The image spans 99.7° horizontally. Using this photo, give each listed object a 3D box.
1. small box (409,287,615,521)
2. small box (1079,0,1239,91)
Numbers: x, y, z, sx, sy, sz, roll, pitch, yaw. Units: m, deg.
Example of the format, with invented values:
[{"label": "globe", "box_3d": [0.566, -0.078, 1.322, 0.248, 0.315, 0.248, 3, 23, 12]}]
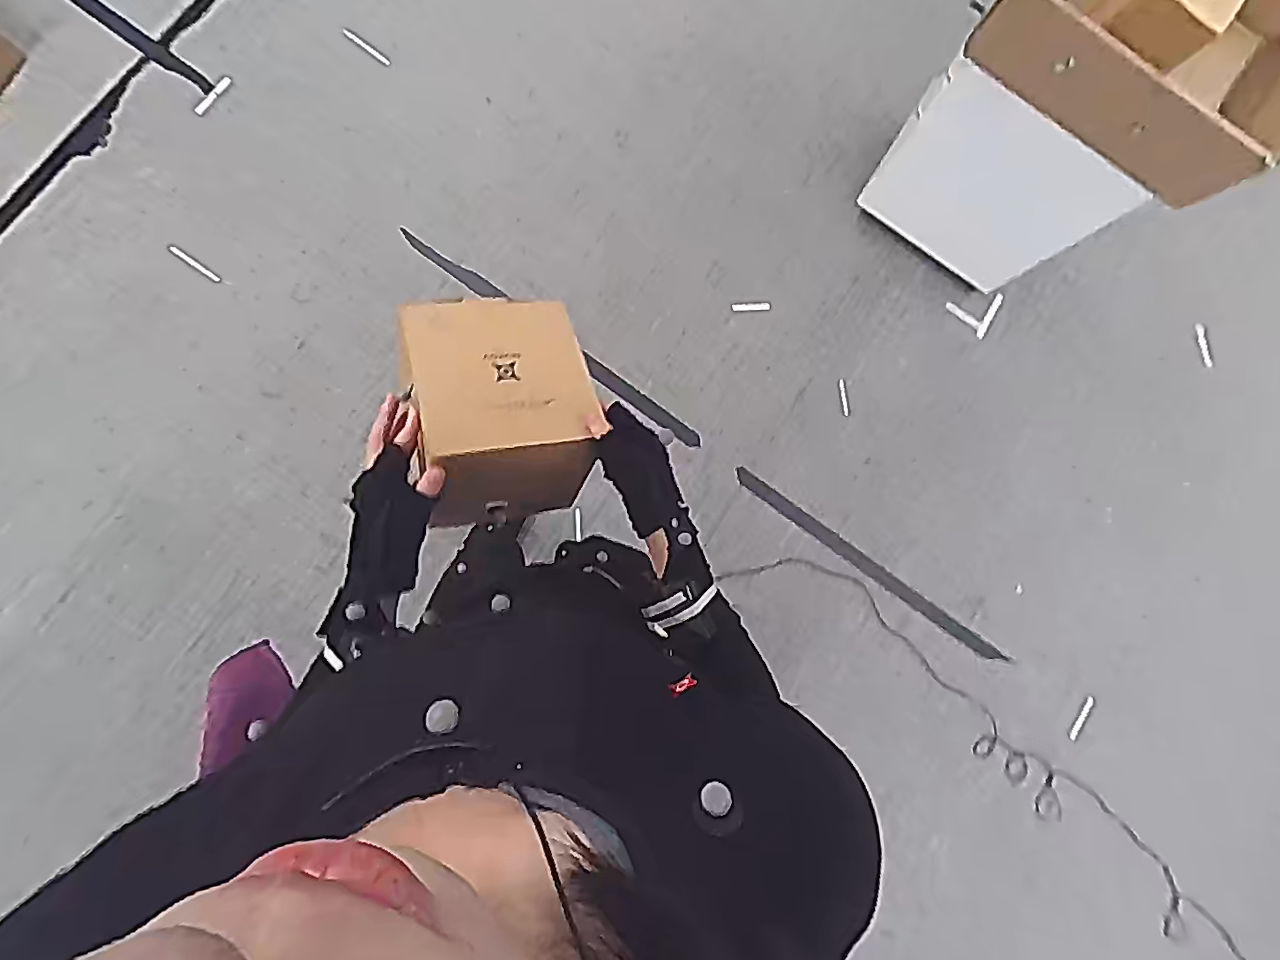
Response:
[{"label": "small box", "box_3d": [-0.147, -0.076, 0.573, 0.168, 0.176, 0.179, -8, 66, -25]}, {"label": "small box", "box_3d": [1.026, -0.931, 1.059, 0.168, 0.176, 0.179, 35, 88, -3]}]
